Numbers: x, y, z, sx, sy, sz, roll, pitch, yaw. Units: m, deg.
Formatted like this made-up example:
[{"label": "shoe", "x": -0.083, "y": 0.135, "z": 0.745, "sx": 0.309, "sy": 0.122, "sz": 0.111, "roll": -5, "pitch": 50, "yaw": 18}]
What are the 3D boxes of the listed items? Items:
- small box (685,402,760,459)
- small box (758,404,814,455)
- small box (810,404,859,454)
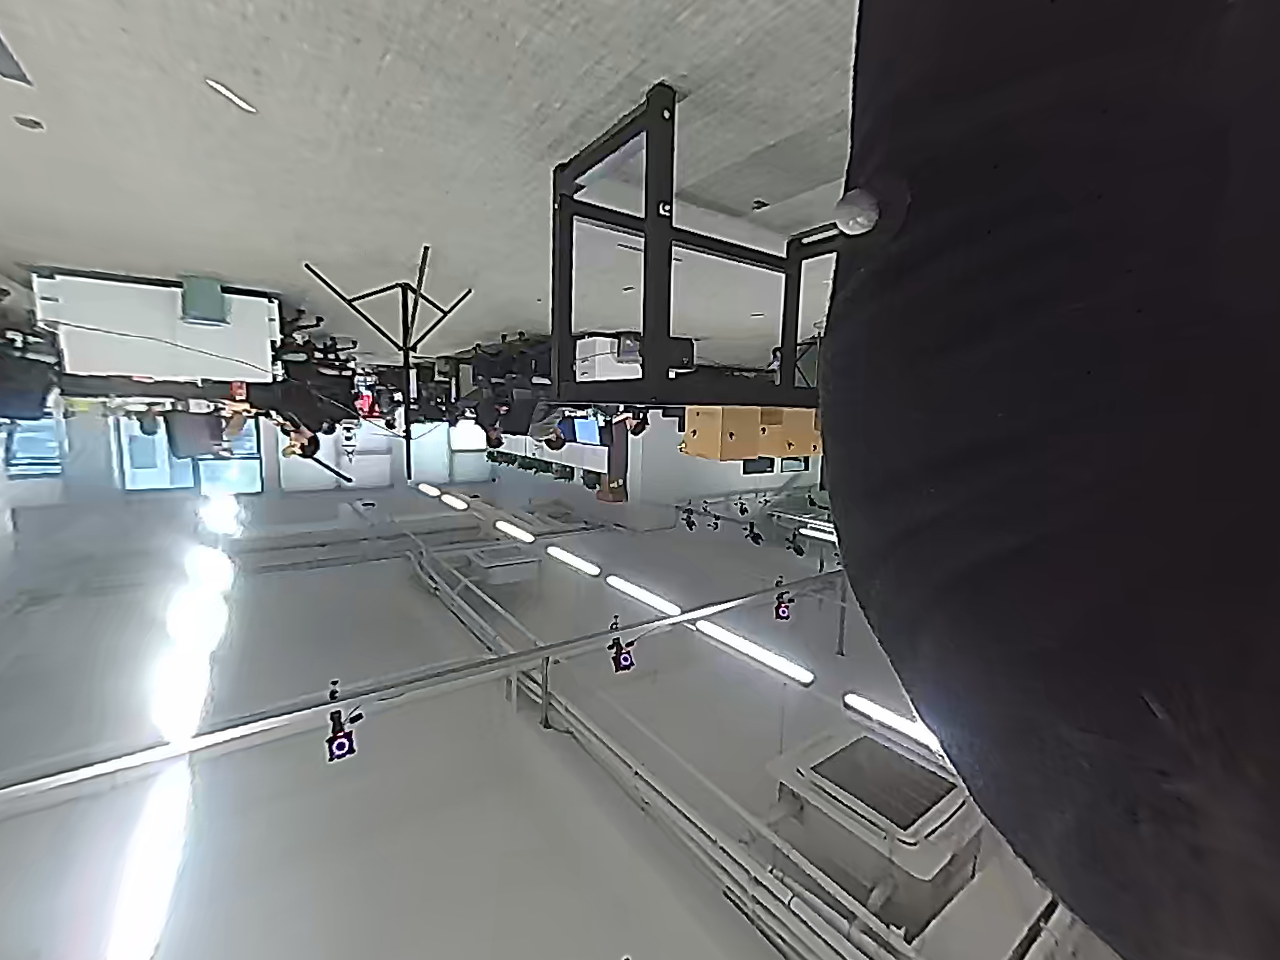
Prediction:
[{"label": "small box", "x": 0.262, "y": -0.162, "z": 1.715, "sx": 0.179, "sy": 0.176, "sz": 0.168, "roll": -5, "pitch": -168, "yaw": -35}, {"label": "small box", "x": 0.482, "y": -0.178, "z": 1.878, "sx": 0.179, "sy": 0.176, "sz": 0.168, "roll": -5, "pitch": -169, "yaw": -37}, {"label": "small box", "x": 0.704, "y": -0.195, "z": 2.035, "sx": 0.179, "sy": 0.176, "sz": 0.168, "roll": -4, "pitch": -170, "yaw": -33}]
